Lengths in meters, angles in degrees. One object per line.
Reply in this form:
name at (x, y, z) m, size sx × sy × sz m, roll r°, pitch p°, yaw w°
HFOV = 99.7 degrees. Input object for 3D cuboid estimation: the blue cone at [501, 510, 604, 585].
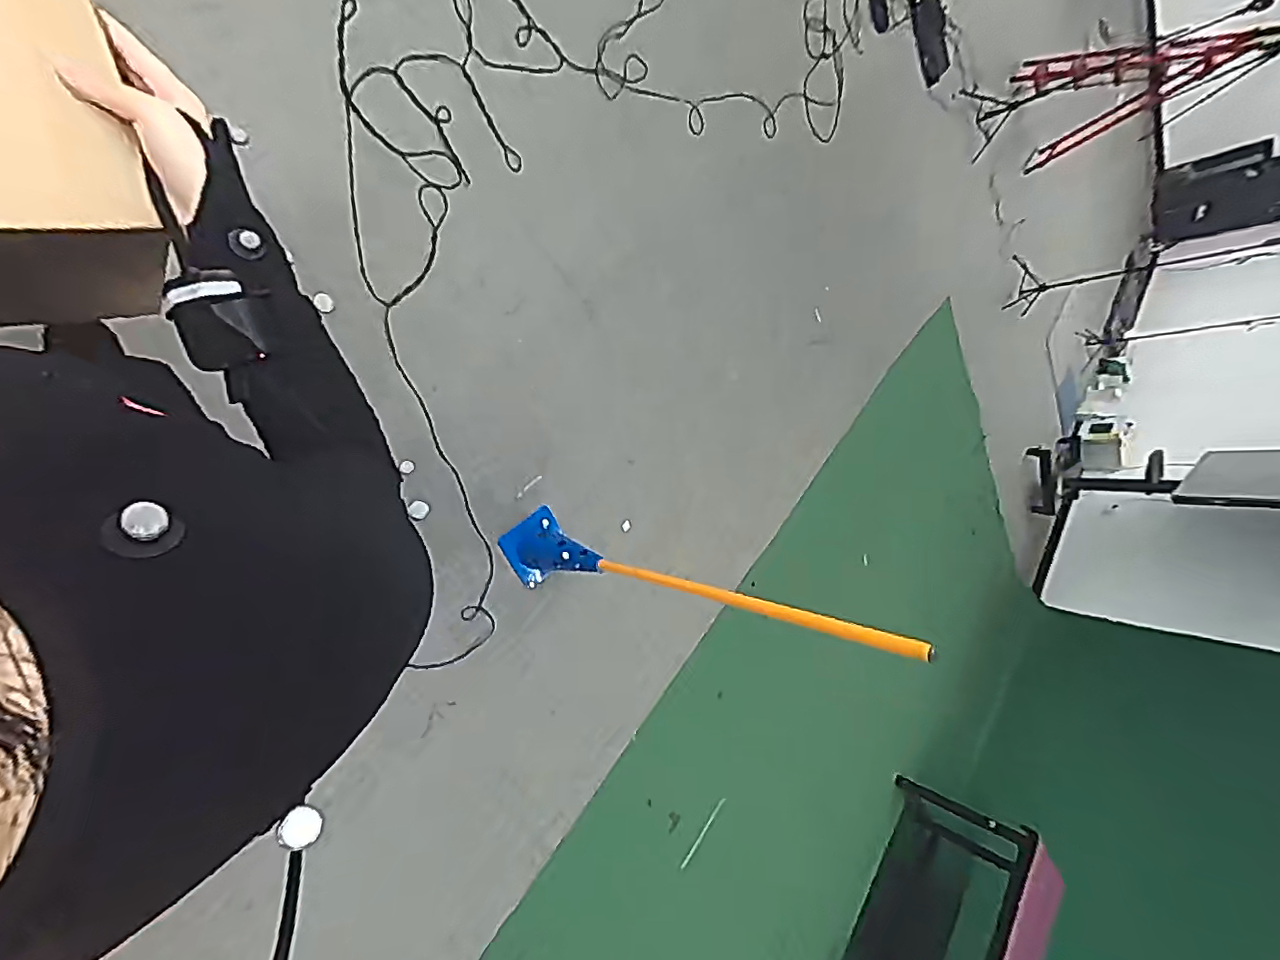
blue cone at (-0.230, 0.217, 1.579) m, size 0.193 × 0.380 × 0.192 m, roll -39°, pitch 117°, yaw -31°

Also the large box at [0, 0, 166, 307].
large box at (-0.617, -0.285, 0.338) m, size 0.408 × 0.320 × 0.320 m, roll -24°, pitch 109°, yaw -41°
